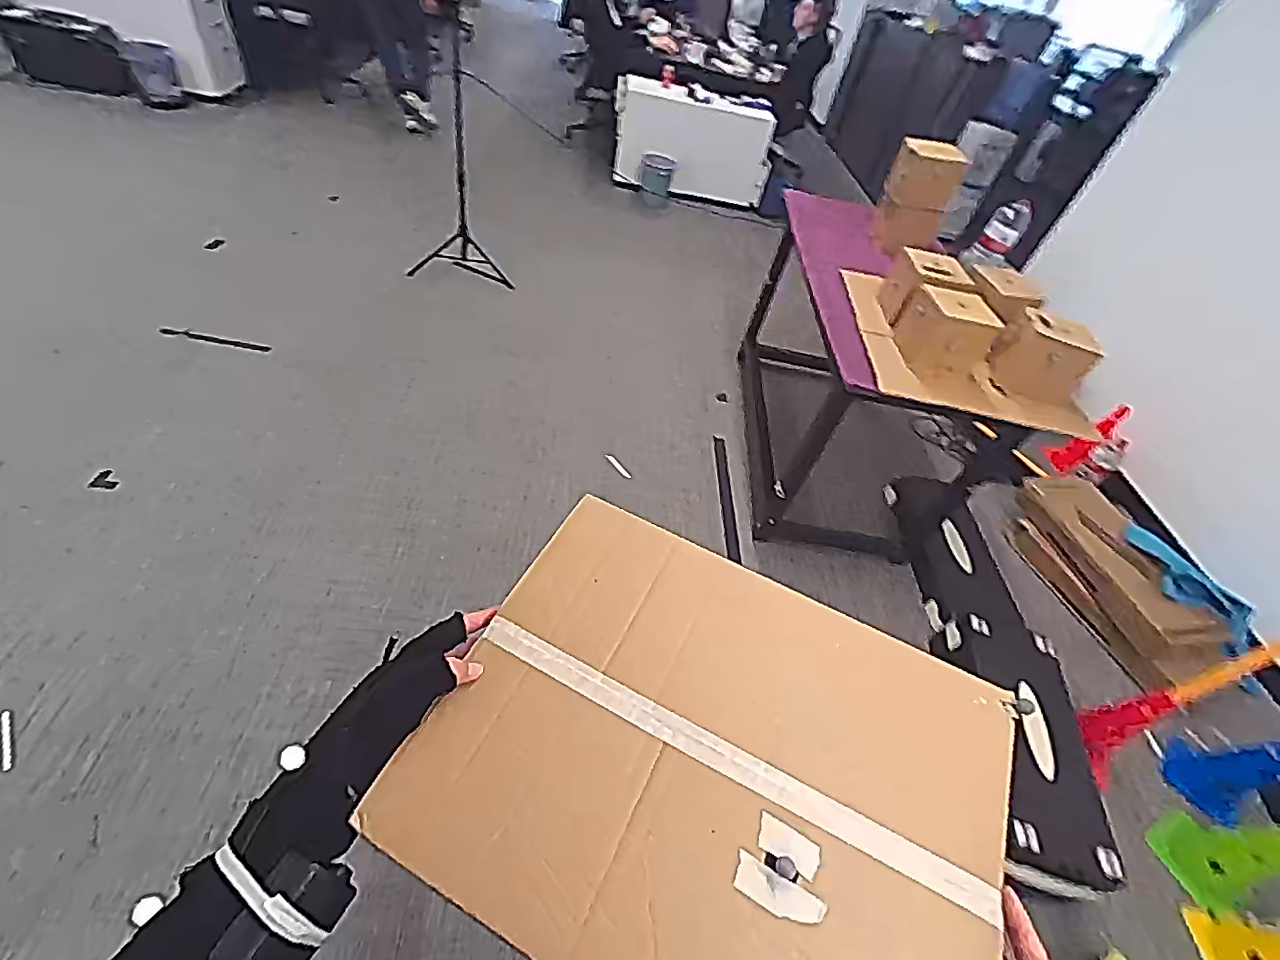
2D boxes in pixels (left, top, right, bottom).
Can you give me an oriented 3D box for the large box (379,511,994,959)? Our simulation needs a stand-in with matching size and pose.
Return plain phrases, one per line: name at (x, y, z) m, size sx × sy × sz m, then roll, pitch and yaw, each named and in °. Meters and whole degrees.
large box at (0.047, 0.299, 0.534) m, size 0.408 × 0.320 × 0.320 m, roll 24°, pitch 55°, yaw 13°
